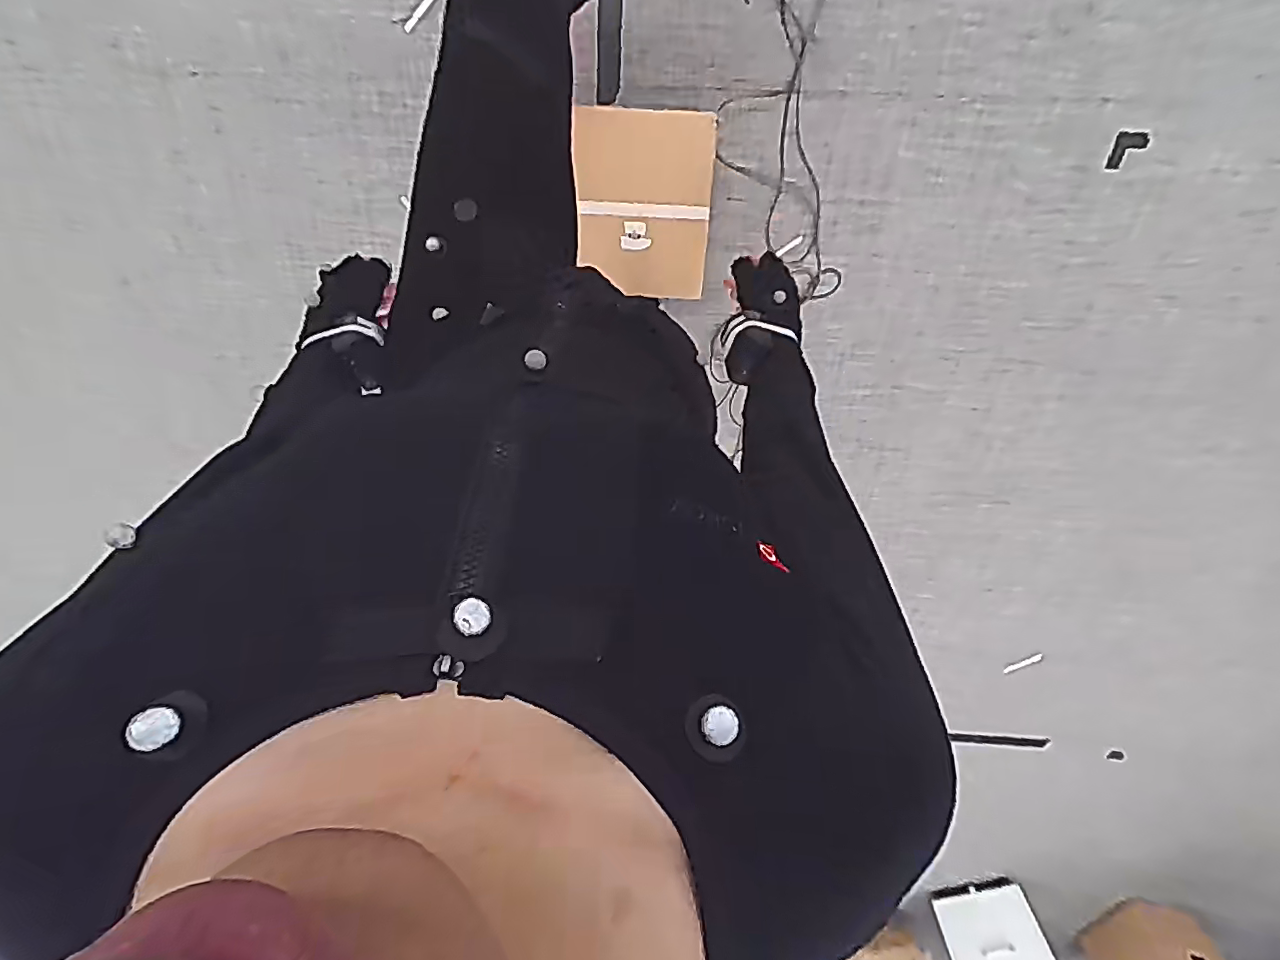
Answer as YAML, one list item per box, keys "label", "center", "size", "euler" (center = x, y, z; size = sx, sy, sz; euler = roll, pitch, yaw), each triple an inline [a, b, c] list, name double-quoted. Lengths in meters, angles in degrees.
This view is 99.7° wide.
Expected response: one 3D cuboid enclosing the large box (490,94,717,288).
- label: "large box"
  center: [-0.065, -0.594, 1.136]
  size: [0.408, 0.320, 0.320]
  euler: [3, 119, 1]
